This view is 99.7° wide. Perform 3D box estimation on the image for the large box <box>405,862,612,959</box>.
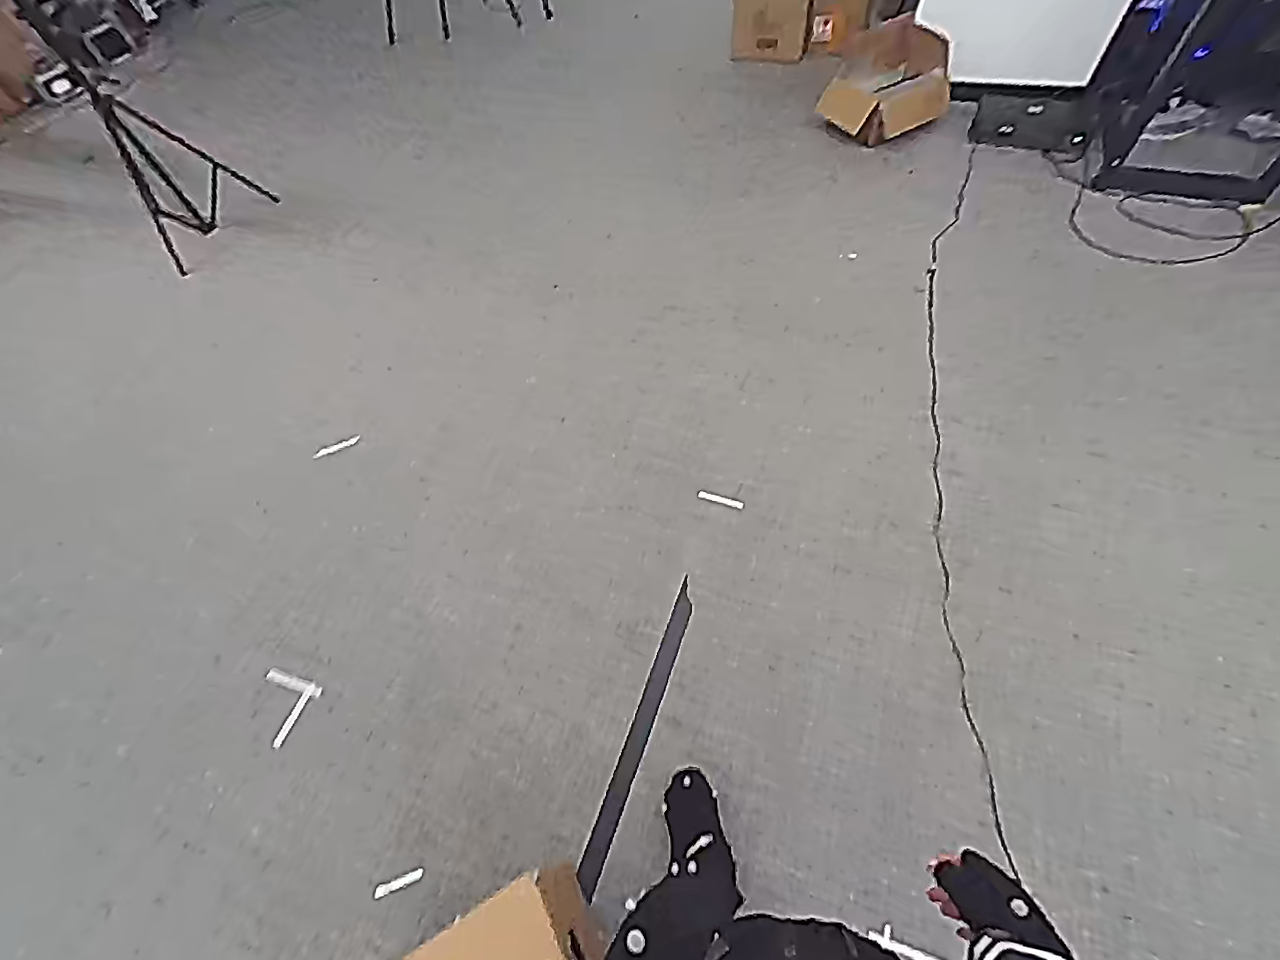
[{"bbox_3d":[-0.261,0.967,0.963,0.408,0.320,0.320,-29,60,-13],"label":"large box"}]
